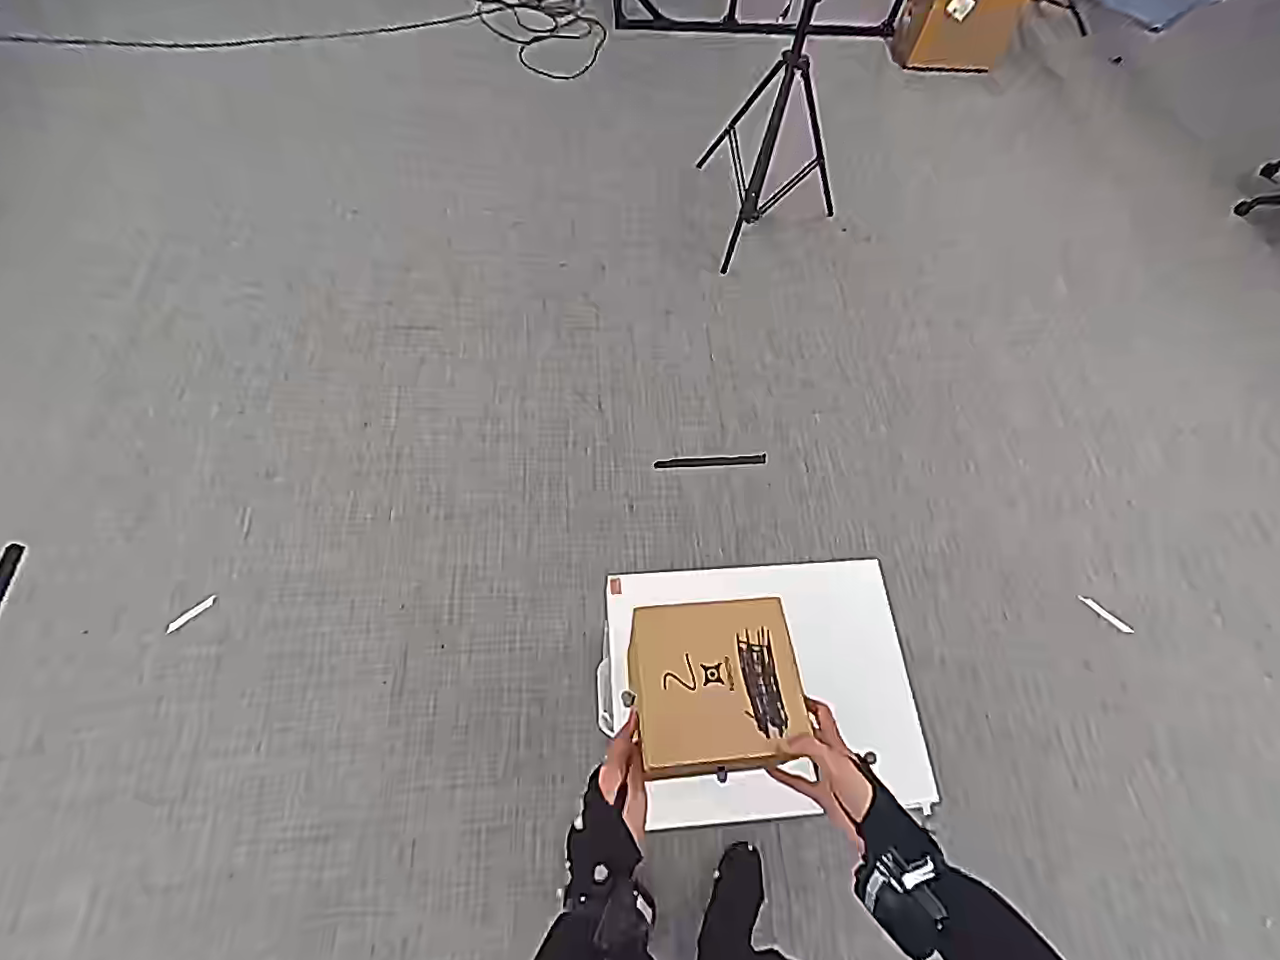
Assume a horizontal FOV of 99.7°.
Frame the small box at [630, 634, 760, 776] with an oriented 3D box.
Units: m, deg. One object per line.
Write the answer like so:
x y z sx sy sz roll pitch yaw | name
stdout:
0.072 0.336 0.816 0.168 0.176 0.179 -2 65 -5 | small box
